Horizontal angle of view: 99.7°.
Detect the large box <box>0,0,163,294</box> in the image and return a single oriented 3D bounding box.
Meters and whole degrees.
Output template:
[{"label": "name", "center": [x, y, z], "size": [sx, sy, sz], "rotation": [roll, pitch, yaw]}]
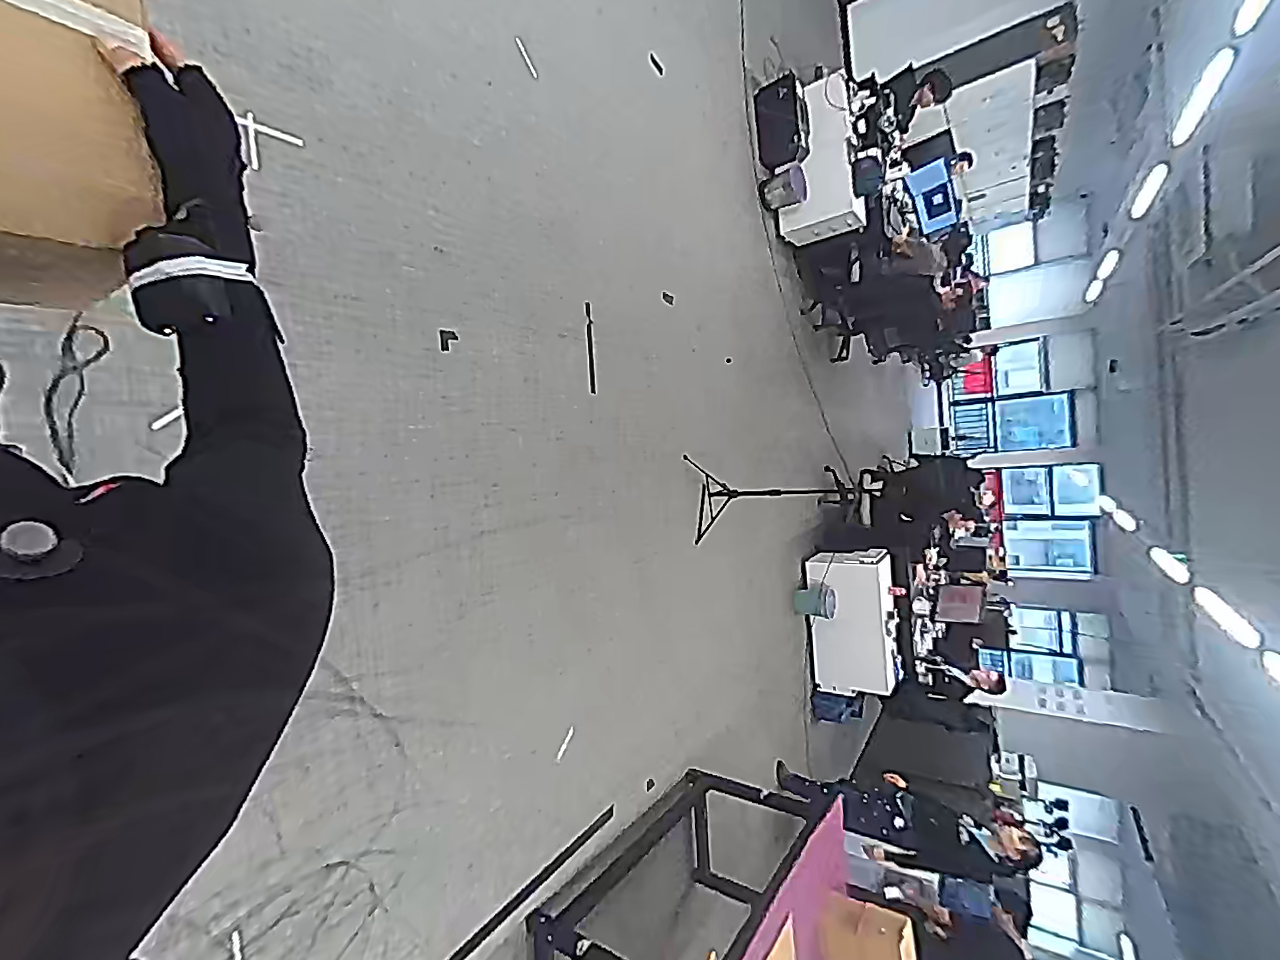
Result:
[{"label": "large box", "center": [-0.624, -0.327, 0.342], "size": [0.408, 0.320, 0.320], "rotation": [-9, 102, -55]}]
